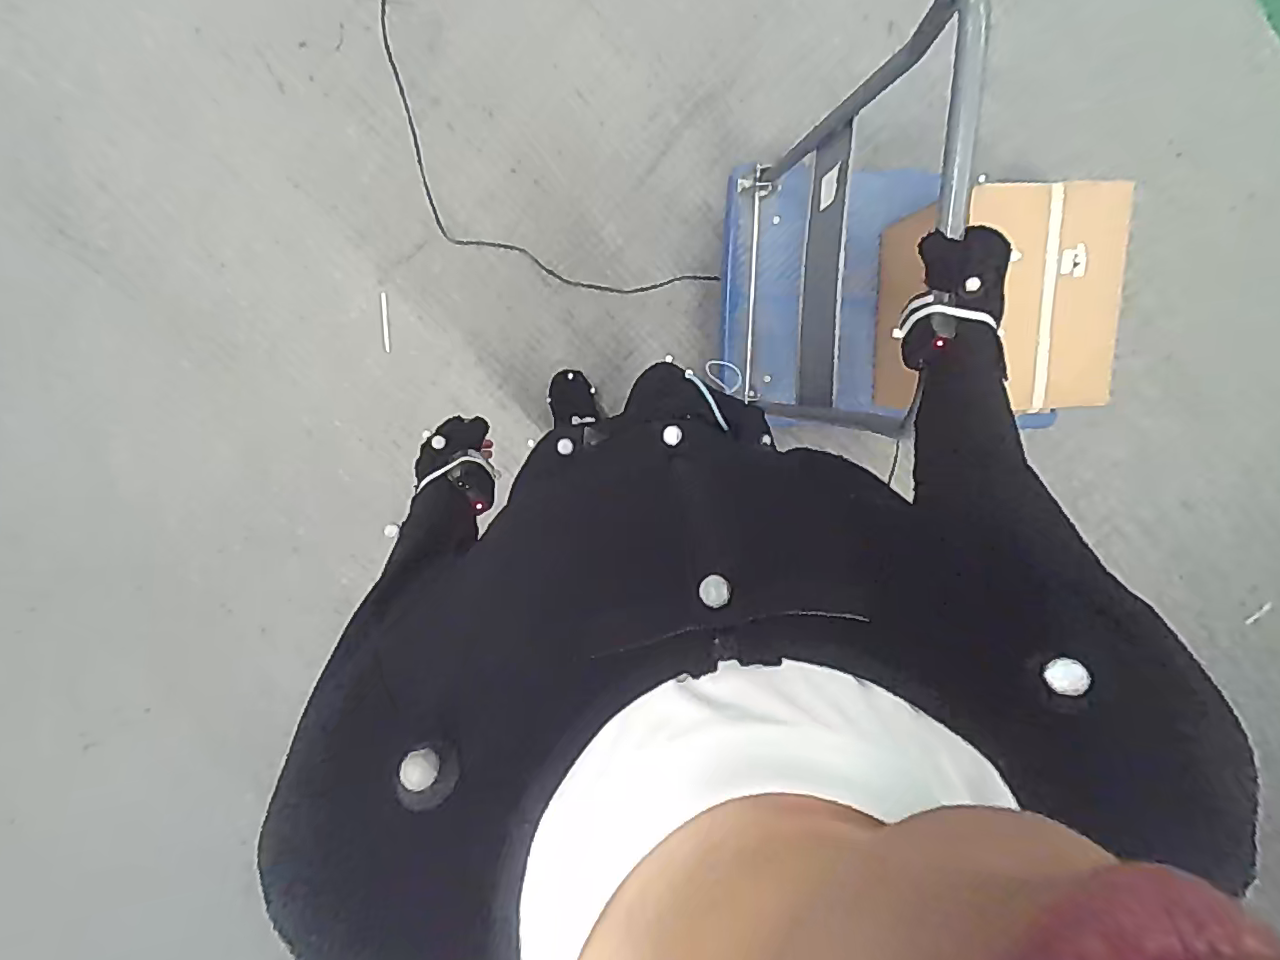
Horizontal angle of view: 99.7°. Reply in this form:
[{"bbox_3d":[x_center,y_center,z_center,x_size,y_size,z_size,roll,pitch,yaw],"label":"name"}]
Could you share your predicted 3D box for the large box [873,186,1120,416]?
[{"bbox_3d":[0.718,-0.350,1.146,0.320,0.320,0.408,-3,100,-6],"label":"large box"}]
